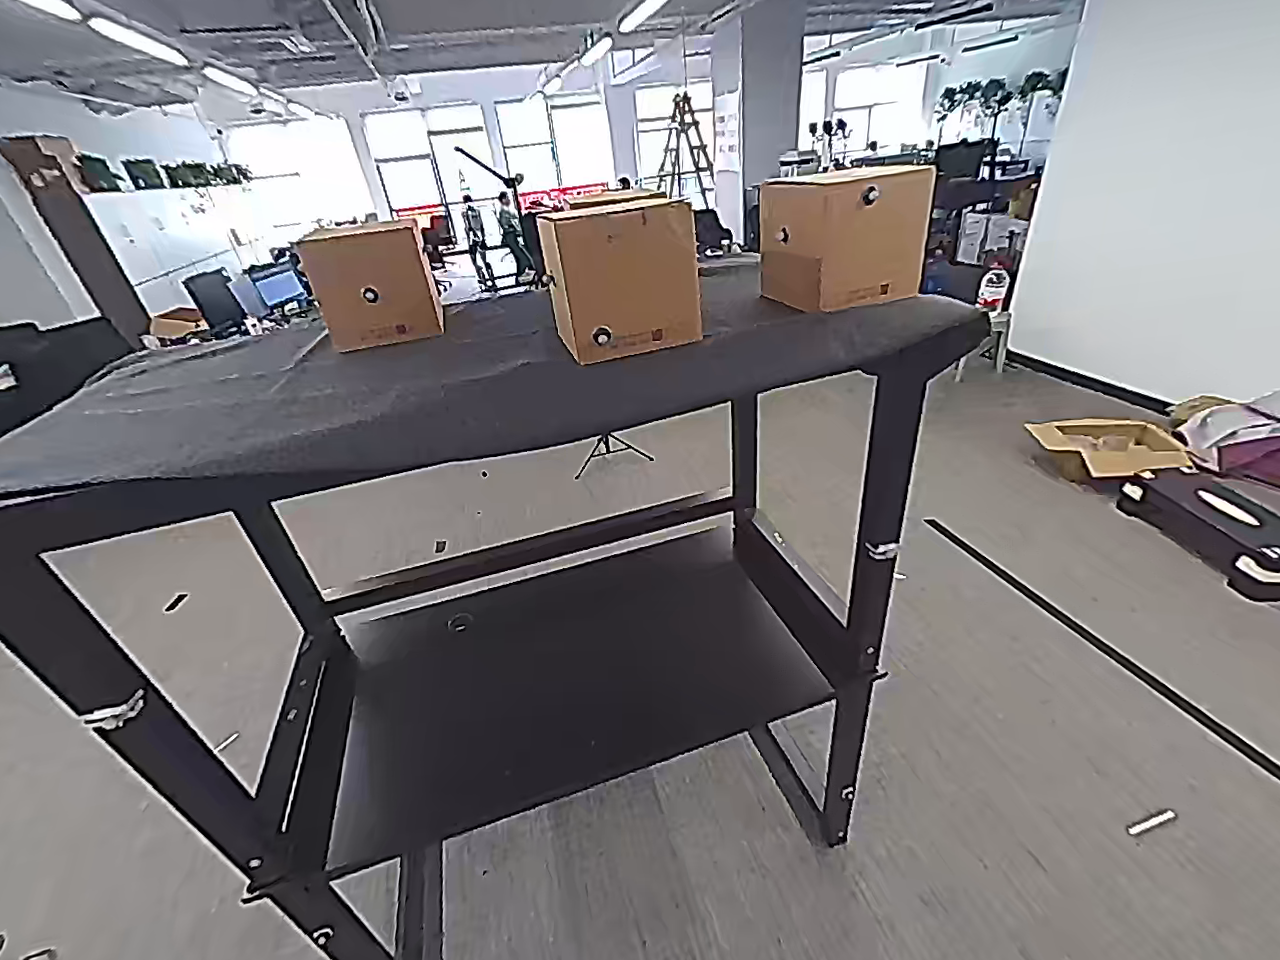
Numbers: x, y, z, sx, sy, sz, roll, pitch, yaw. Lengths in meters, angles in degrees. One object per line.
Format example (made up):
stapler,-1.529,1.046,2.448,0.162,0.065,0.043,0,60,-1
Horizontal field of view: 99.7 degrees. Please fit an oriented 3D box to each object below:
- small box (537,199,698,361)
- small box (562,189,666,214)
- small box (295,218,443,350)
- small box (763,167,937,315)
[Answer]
small box,-0.029,-0.265,0.716,0.168,0.176,0.179,-14,29,-11
small box,-0.042,-0.424,0.986,0.168,0.176,0.179,-10,31,-7
small box,-0.431,-0.322,0.894,0.168,0.176,0.179,-14,32,-12
small box,0.292,-0.349,0.791,0.168,0.176,0.179,-15,31,-11
